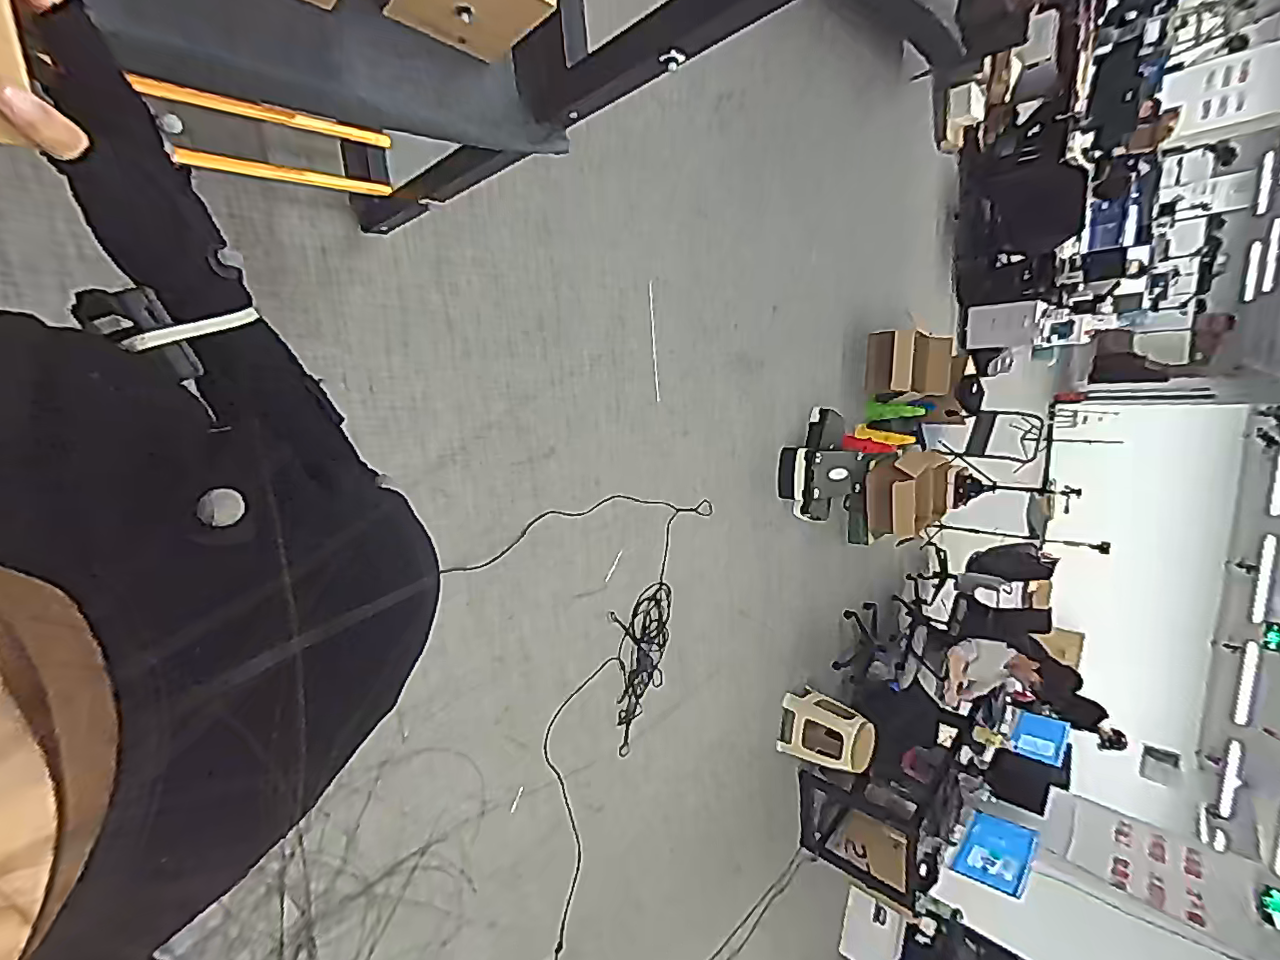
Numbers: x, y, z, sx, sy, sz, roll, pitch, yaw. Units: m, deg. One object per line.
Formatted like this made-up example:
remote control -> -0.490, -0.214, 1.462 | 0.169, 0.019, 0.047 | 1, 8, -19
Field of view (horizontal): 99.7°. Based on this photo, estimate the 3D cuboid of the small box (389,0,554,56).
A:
small box -> -0.230, -0.702, 0.698 | 0.168, 0.176, 0.179 | -11, 103, -46
